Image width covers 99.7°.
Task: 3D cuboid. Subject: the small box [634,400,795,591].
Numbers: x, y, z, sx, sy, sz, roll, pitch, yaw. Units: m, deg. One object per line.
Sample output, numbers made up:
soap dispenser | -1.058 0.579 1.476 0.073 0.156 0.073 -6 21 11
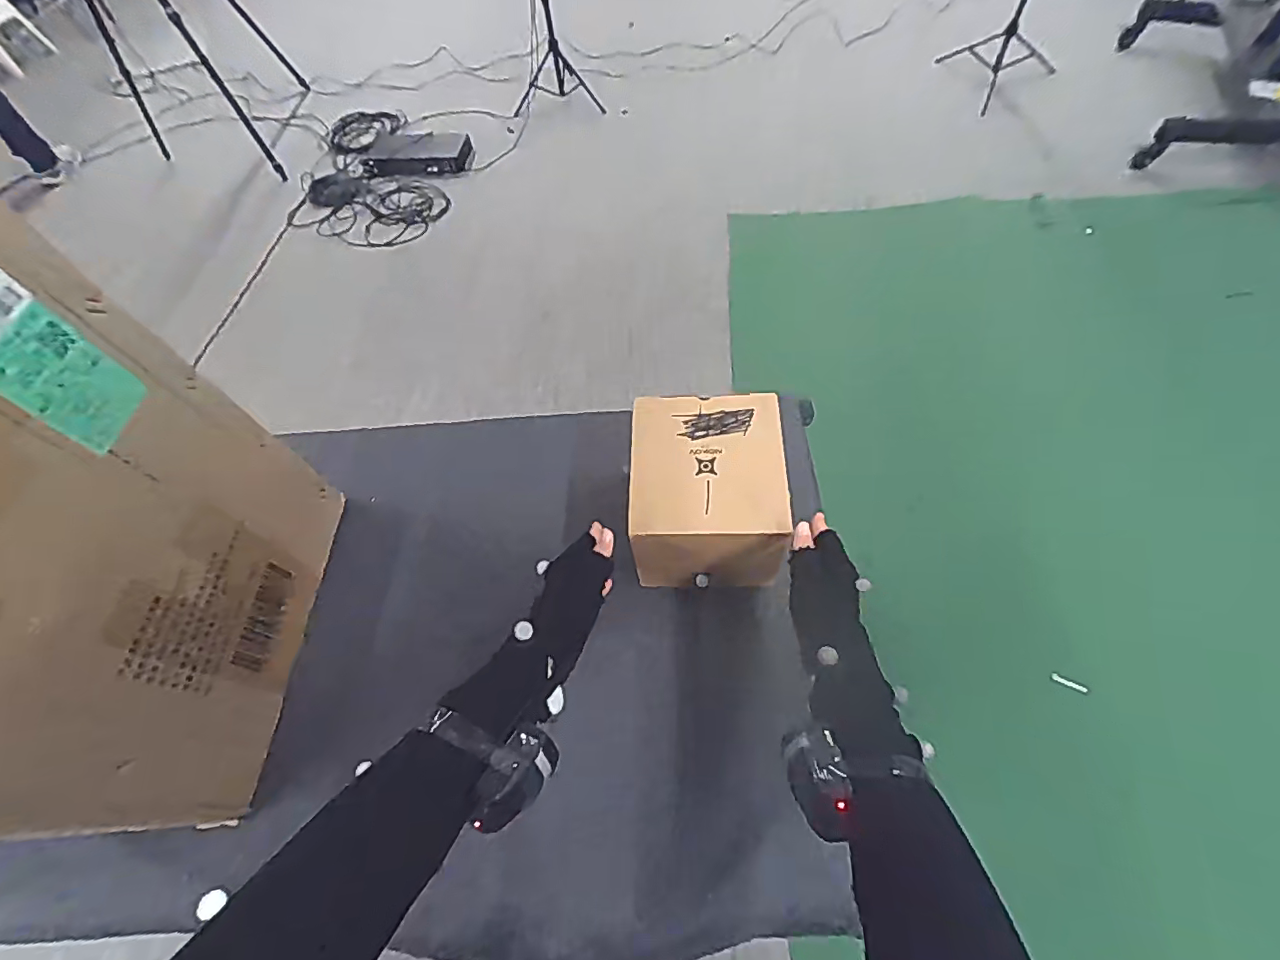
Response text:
small box | 0.084 0.023 0.654 0.168 0.176 0.179 -1 61 5
